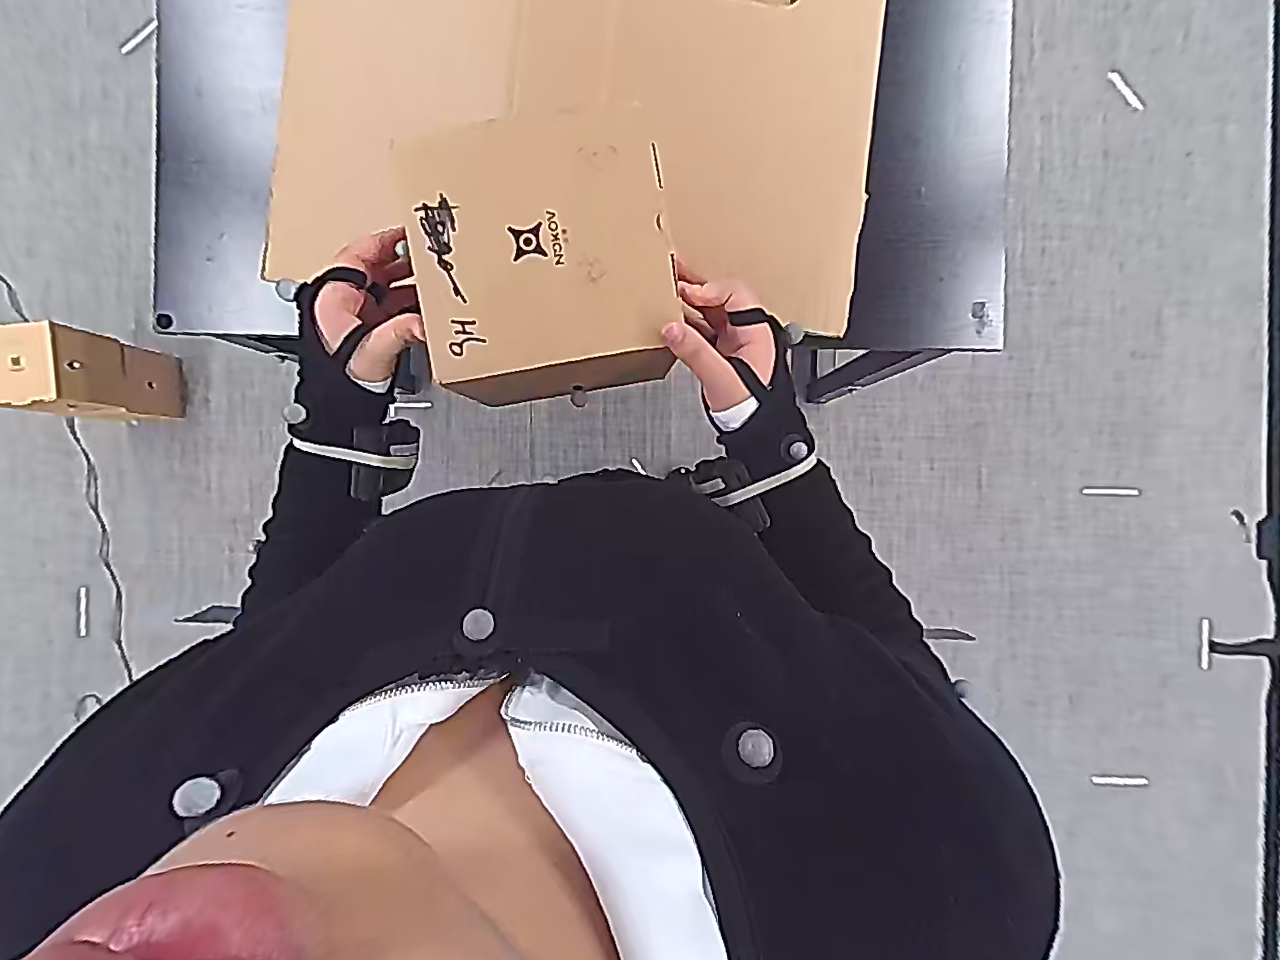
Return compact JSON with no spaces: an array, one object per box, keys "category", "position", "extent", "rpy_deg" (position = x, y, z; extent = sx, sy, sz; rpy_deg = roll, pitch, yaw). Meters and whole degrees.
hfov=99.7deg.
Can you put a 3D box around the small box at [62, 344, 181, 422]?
[{"category":"small box","position":[-1.361,-0.250,1.426],"extent":[0.168,0.176,0.179],"rpy_deg":[-3,91,0]}]

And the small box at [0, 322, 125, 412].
[{"category":"small box","position":[-1.362,-0.255,1.263],"extent":[0.168,0.176,0.179],"rpy_deg":[-5,90,0]}]
